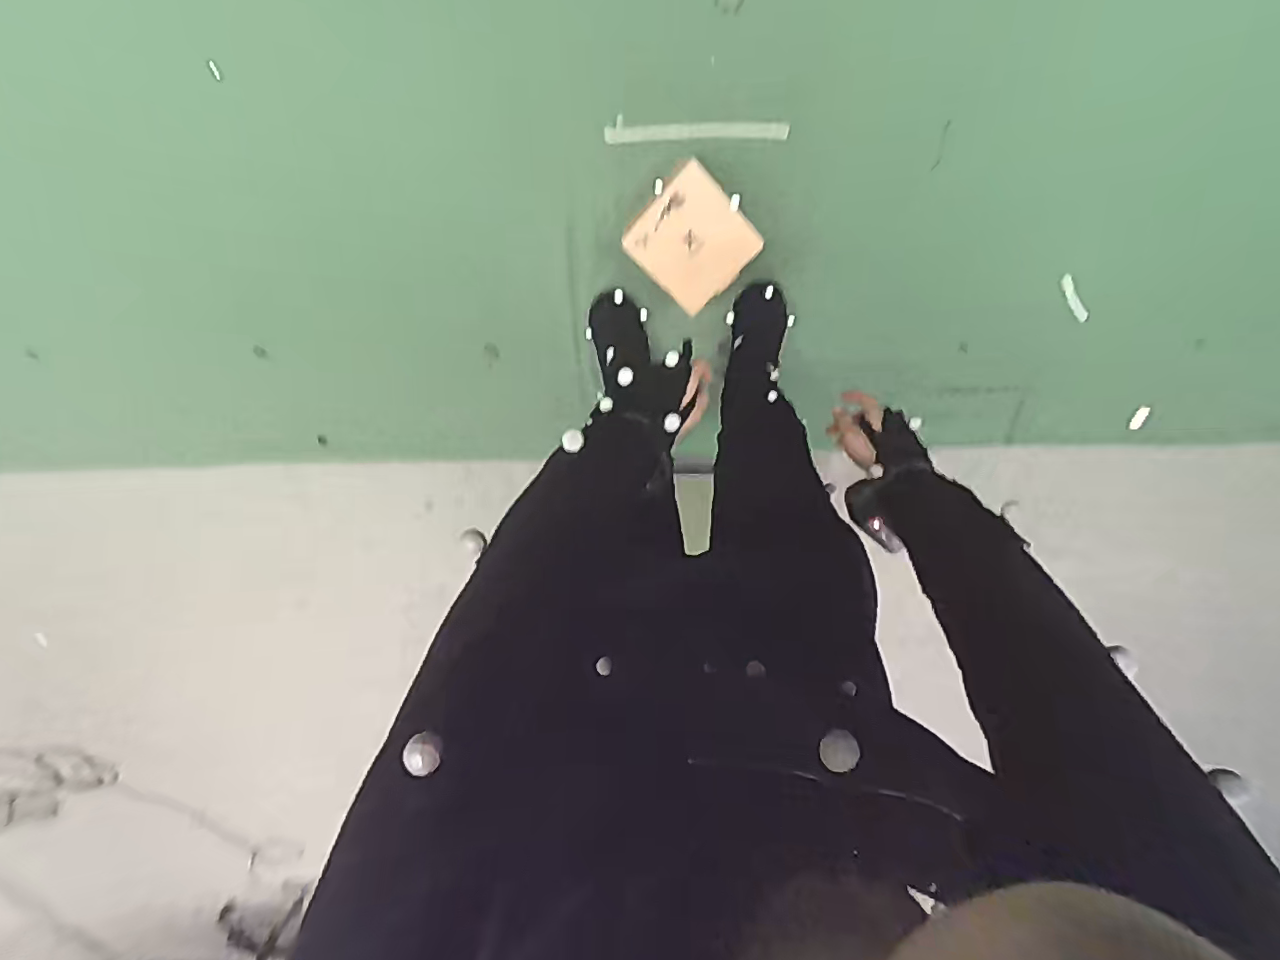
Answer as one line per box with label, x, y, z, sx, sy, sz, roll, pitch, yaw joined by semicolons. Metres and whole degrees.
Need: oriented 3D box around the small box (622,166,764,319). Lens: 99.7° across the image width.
small box;0.088;-0.422;0.948;0.179;0.176;0.168;39;115;-22
